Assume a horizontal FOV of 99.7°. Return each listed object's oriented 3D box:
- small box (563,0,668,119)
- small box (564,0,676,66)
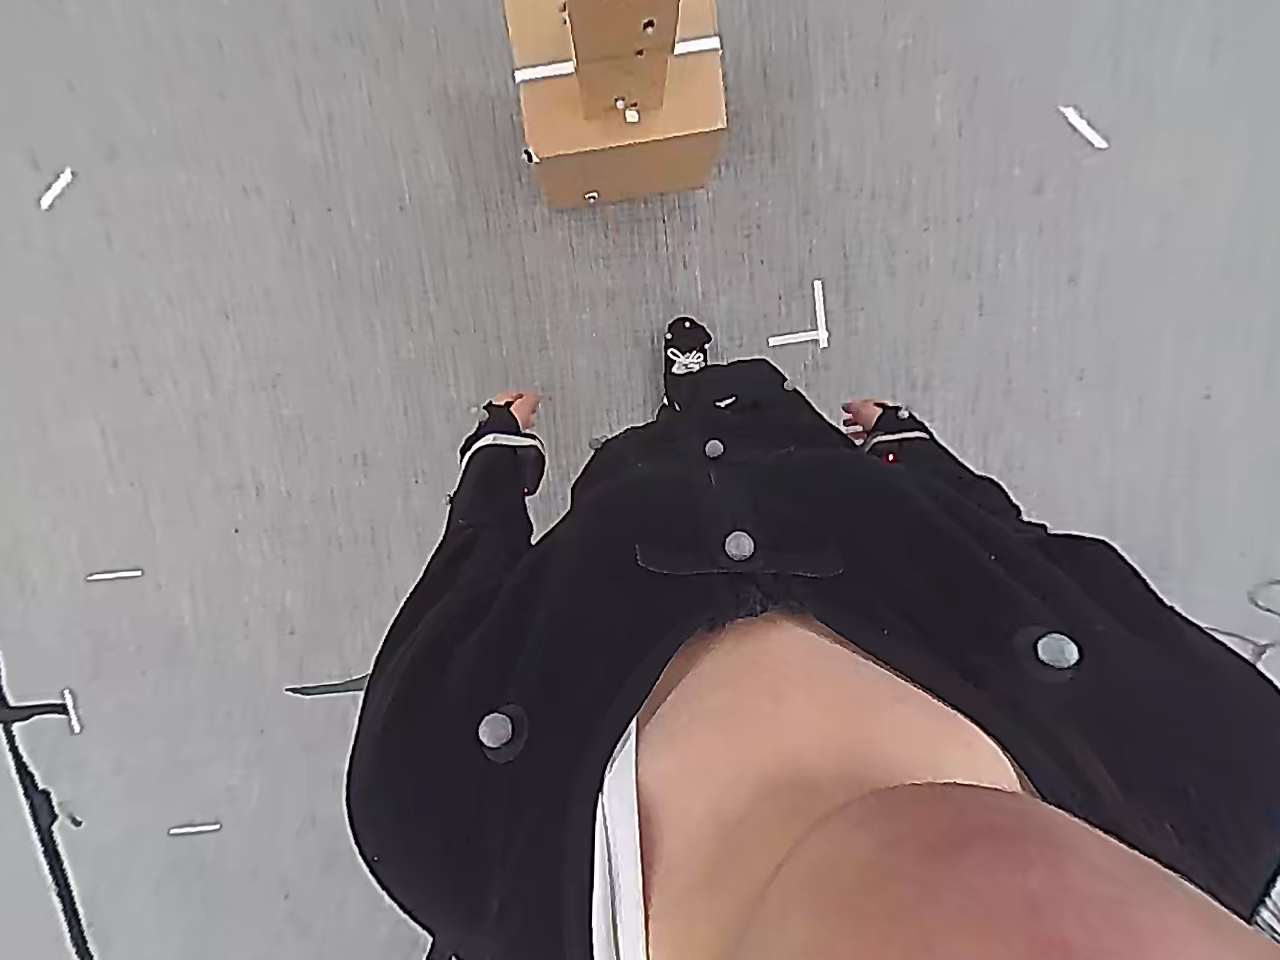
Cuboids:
[{"bbox_3d":[-0.047,-0.801,0.983,0.168,0.176,0.179,-9,99,1],"label":"small box"},{"bbox_3d":[-0.038,-0.772,0.824,0.168,0.176,0.179,-10,98,0],"label":"small box"}]
